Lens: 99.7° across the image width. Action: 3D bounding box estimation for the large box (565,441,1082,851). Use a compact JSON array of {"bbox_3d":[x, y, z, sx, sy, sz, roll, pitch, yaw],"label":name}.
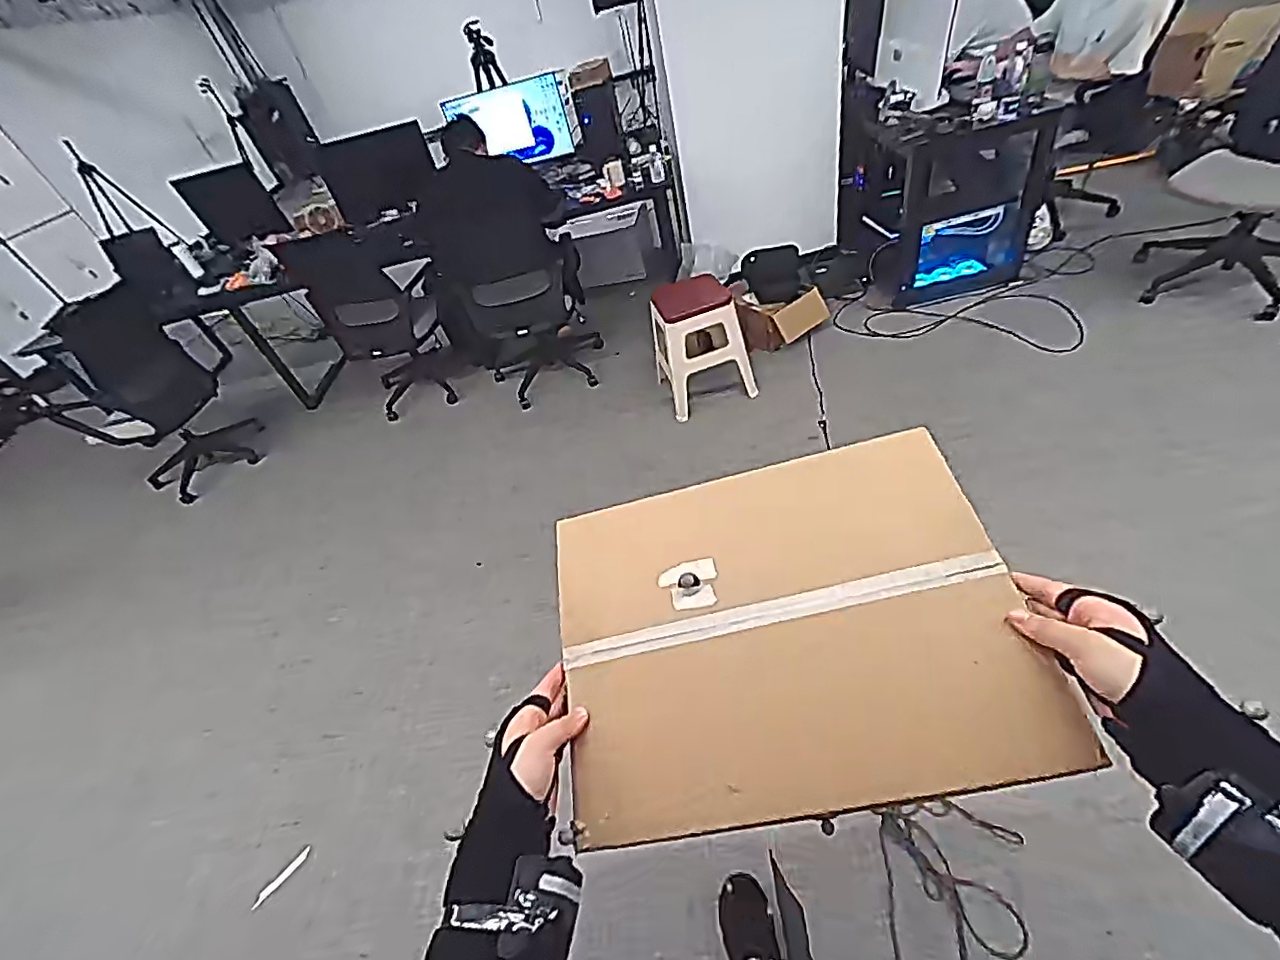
[{"bbox_3d":[0.164,0.211,0.633,0.408,0.320,0.320,-16,54,9],"label":"large box"}]
